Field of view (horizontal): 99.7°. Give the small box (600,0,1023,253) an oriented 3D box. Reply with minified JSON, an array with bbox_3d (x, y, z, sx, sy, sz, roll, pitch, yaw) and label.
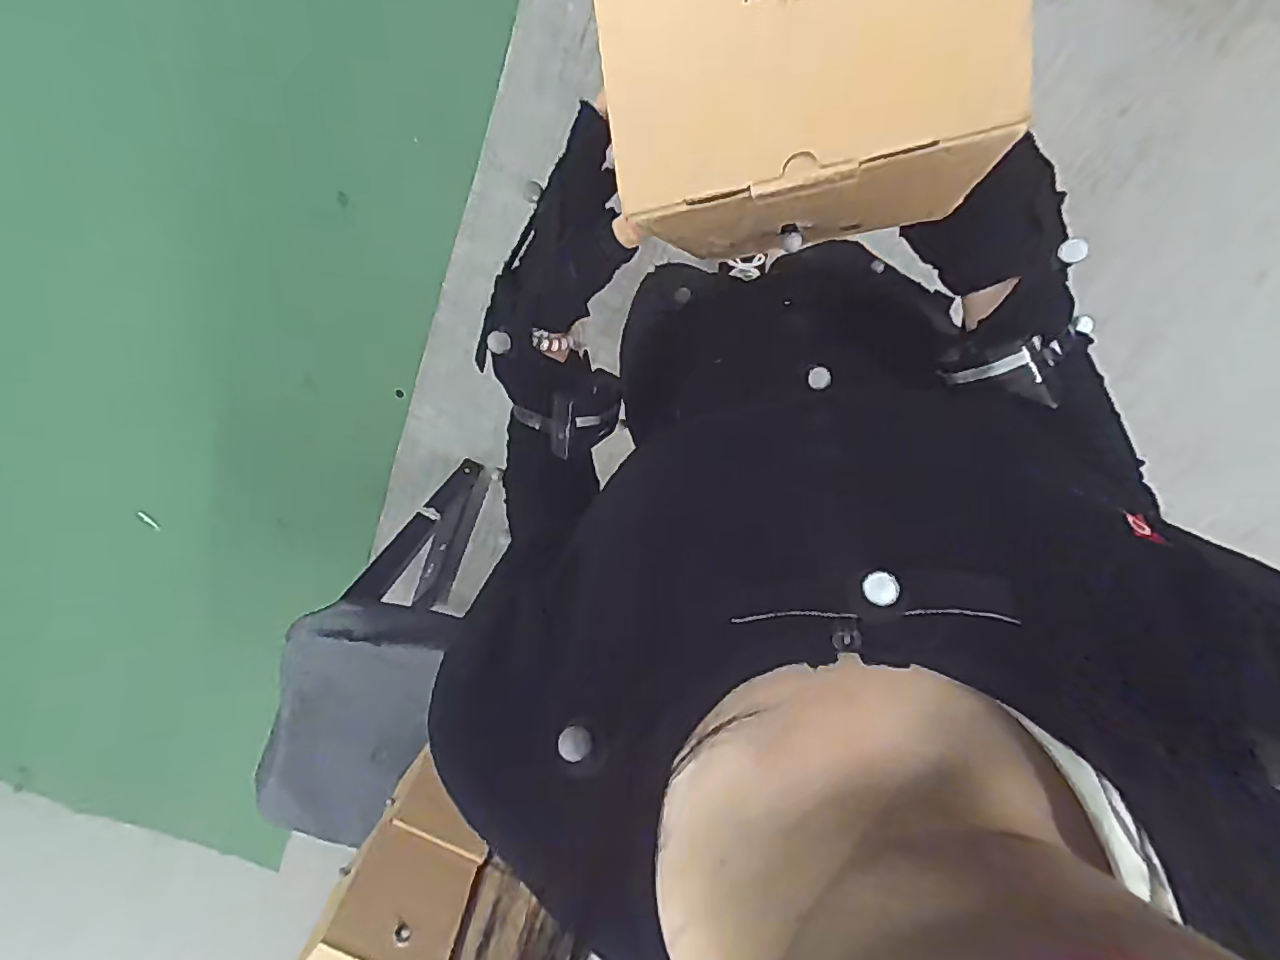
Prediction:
[{"bbox_3d":[0.085,-0.237,0.289,0.168,0.176,0.179,-3,104,22],"label":"small box"}]
